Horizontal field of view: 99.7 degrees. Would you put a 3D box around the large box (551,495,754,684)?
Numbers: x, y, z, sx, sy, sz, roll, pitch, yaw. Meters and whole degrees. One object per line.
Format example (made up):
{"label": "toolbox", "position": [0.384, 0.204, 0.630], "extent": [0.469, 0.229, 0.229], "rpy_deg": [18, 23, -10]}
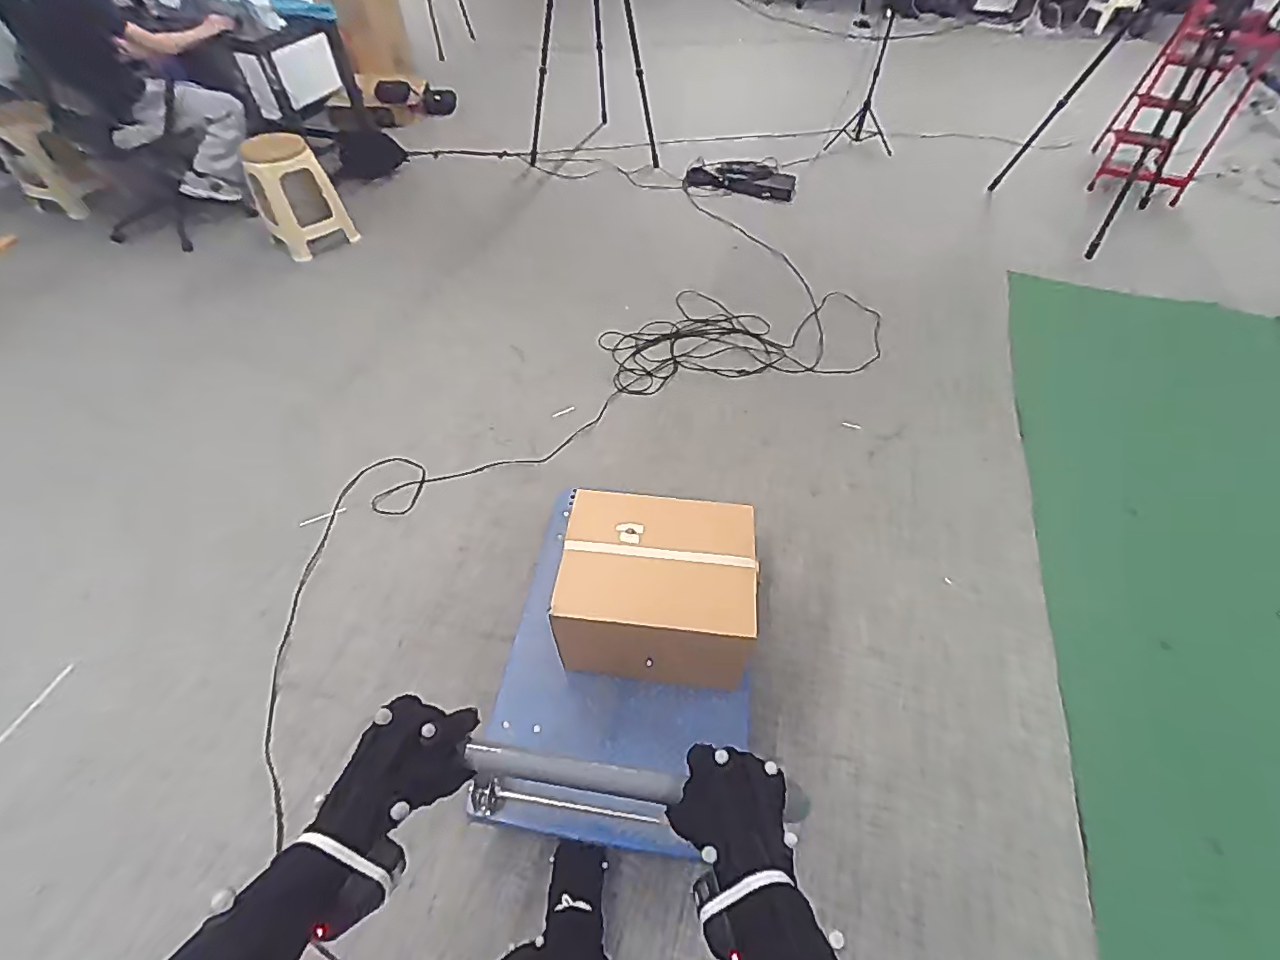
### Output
{"label": "large box", "position": [0.041, 0.259, 1.258], "extent": [0.408, 0.320, 0.320], "rpy_deg": [5, 51, 5]}
